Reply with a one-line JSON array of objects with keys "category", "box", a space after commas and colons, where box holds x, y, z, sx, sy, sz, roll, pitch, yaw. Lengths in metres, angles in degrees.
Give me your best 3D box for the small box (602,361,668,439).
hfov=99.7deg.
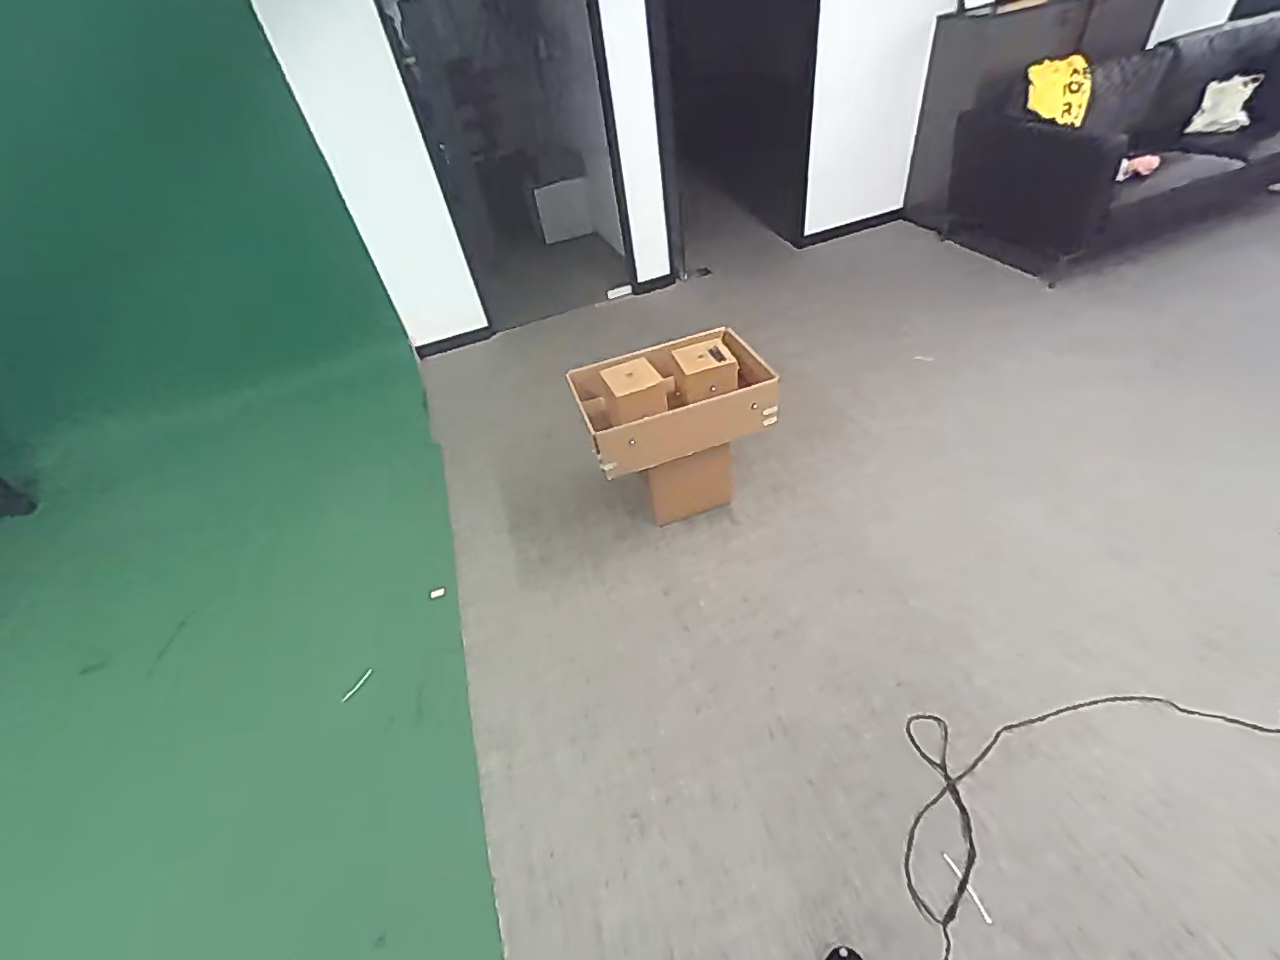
[{"category": "small box", "box": [-0.016, -0.266, 1.801, 0.168, 0.176, 0.179, -20, 44, -11]}]
